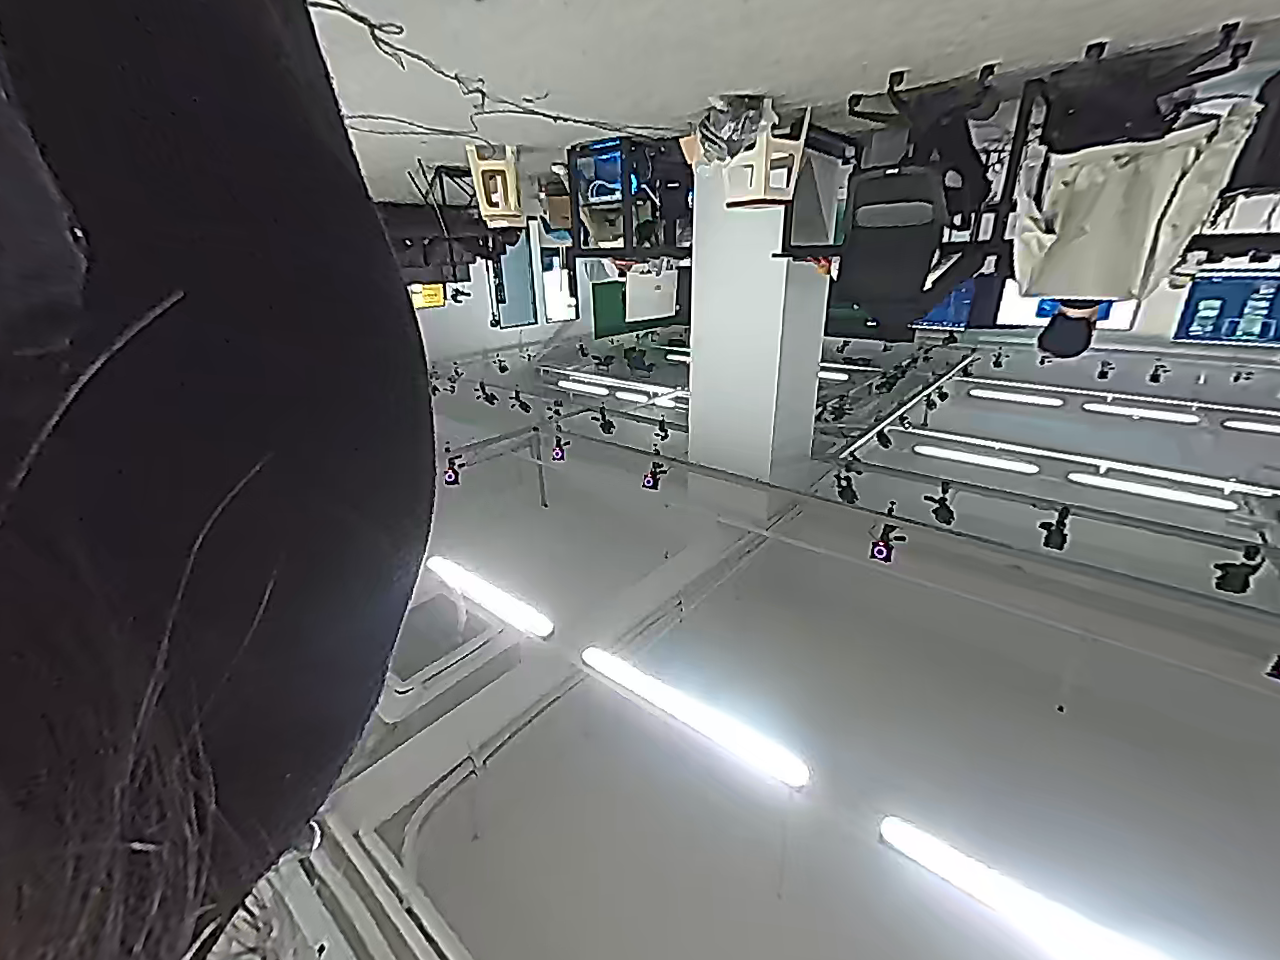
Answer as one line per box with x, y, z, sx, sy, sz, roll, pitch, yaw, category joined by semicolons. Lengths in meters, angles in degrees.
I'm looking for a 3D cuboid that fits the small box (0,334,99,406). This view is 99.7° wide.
-1.741;-0.328;1.579;0.168;0.176;0.179;21;-147;38;small box
